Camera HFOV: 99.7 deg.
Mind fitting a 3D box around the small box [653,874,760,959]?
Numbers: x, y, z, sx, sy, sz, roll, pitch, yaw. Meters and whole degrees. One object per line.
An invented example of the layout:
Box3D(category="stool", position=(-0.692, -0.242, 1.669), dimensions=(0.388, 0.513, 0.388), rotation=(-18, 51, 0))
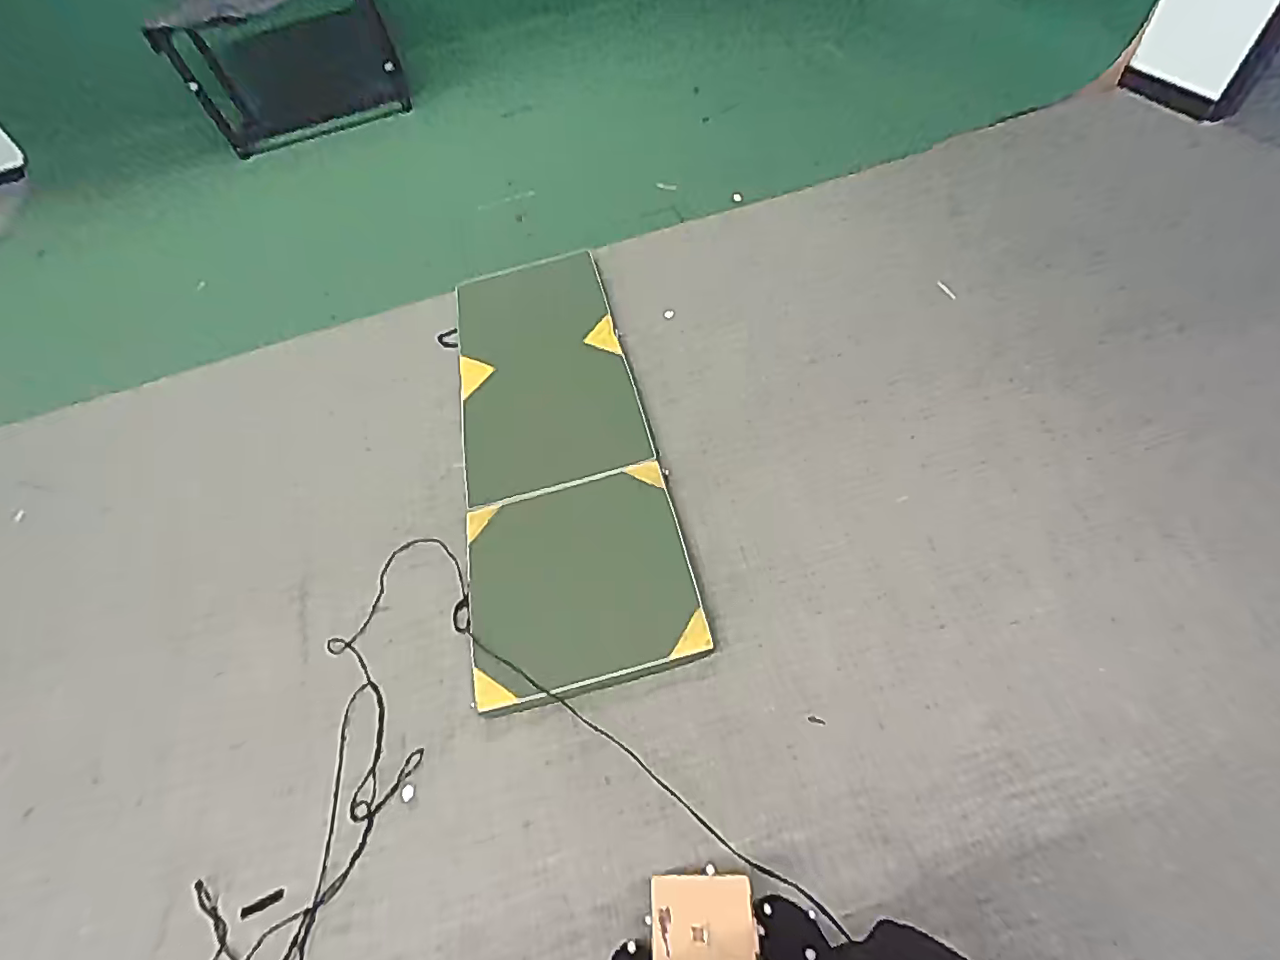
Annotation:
Box3D(category="small box", position=(0.119, 0.811, 0.968), dimensions=(0.179, 0.176, 0.168), rotation=(-5, 54, 7))
